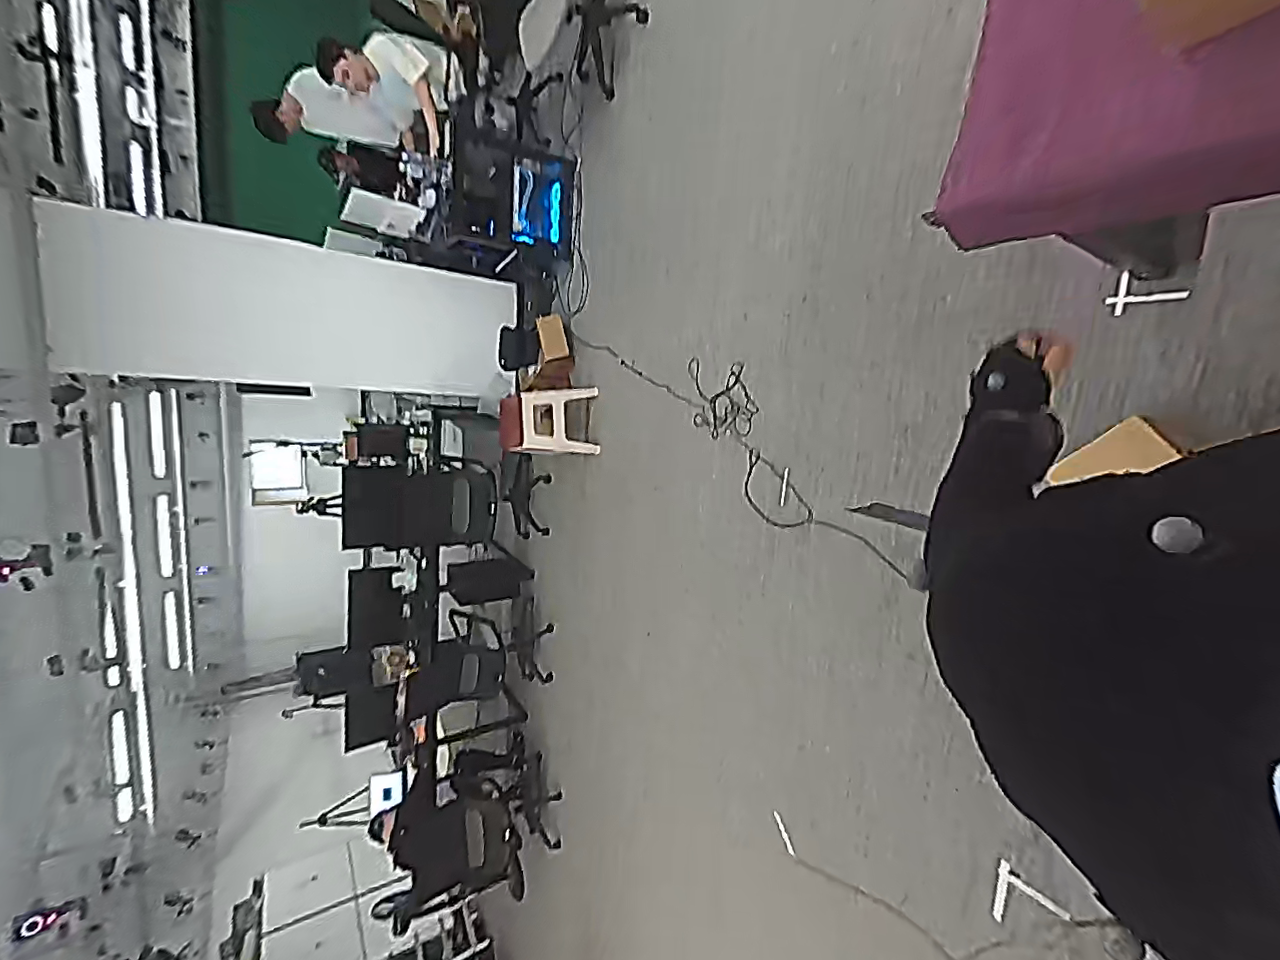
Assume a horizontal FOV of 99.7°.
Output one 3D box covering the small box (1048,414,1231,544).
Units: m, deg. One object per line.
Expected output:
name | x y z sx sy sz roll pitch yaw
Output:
small box | 0.913 -0.002 0.987 0.179 0.176 0.168 -53 49 43

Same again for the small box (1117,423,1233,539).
small box | 1.037 -0.001 1.099 0.168 0.176 0.179 48 129 43
